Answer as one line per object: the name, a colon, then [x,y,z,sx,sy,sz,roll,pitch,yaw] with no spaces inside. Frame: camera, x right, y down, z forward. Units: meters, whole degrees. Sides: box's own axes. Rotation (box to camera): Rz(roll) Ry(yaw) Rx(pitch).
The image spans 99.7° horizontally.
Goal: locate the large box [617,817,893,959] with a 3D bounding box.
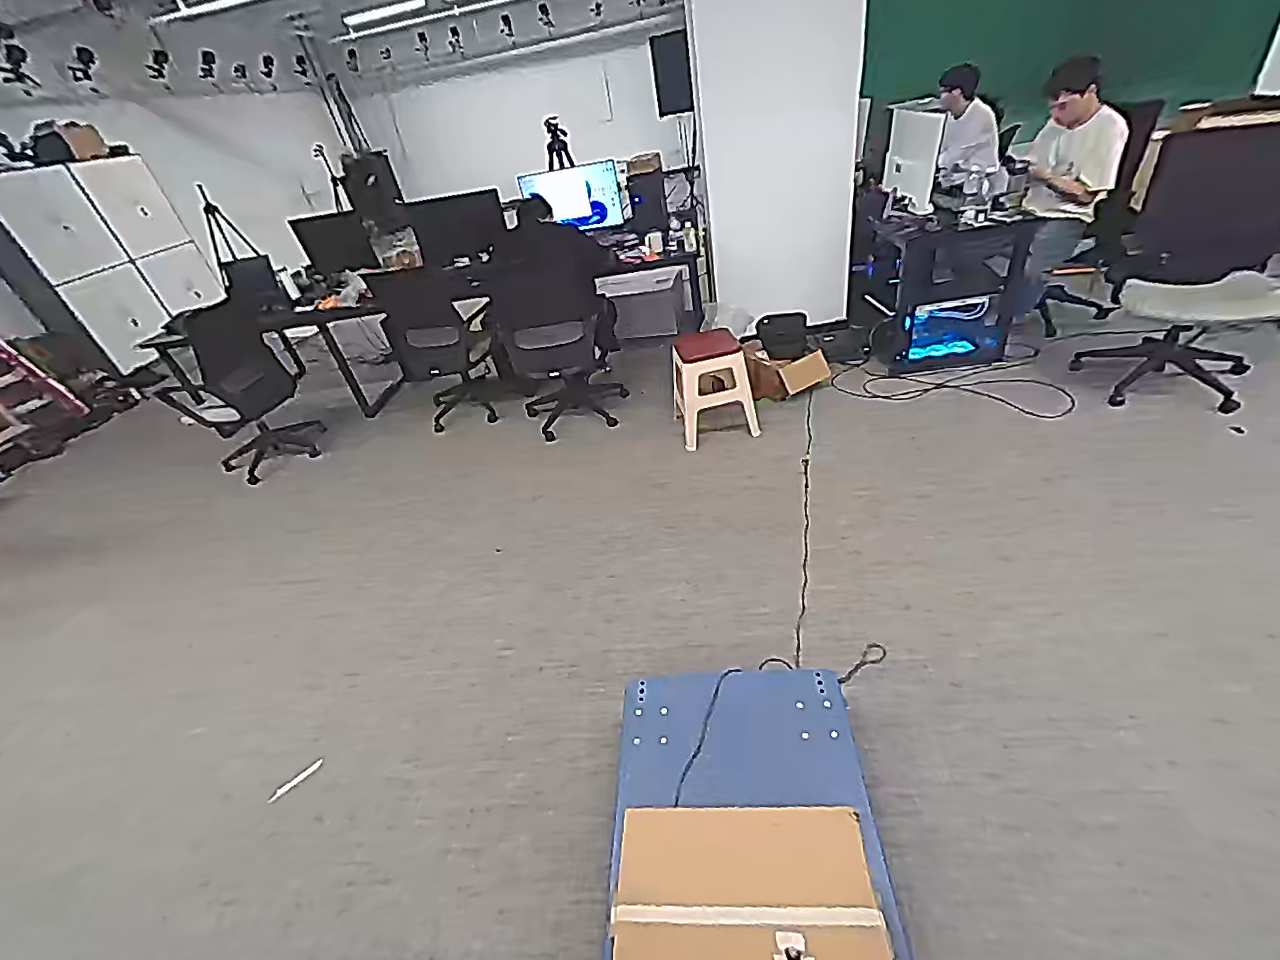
large box: [0.183,0.795,0.894,0.408,0.320,0.320,-5,36,8]
